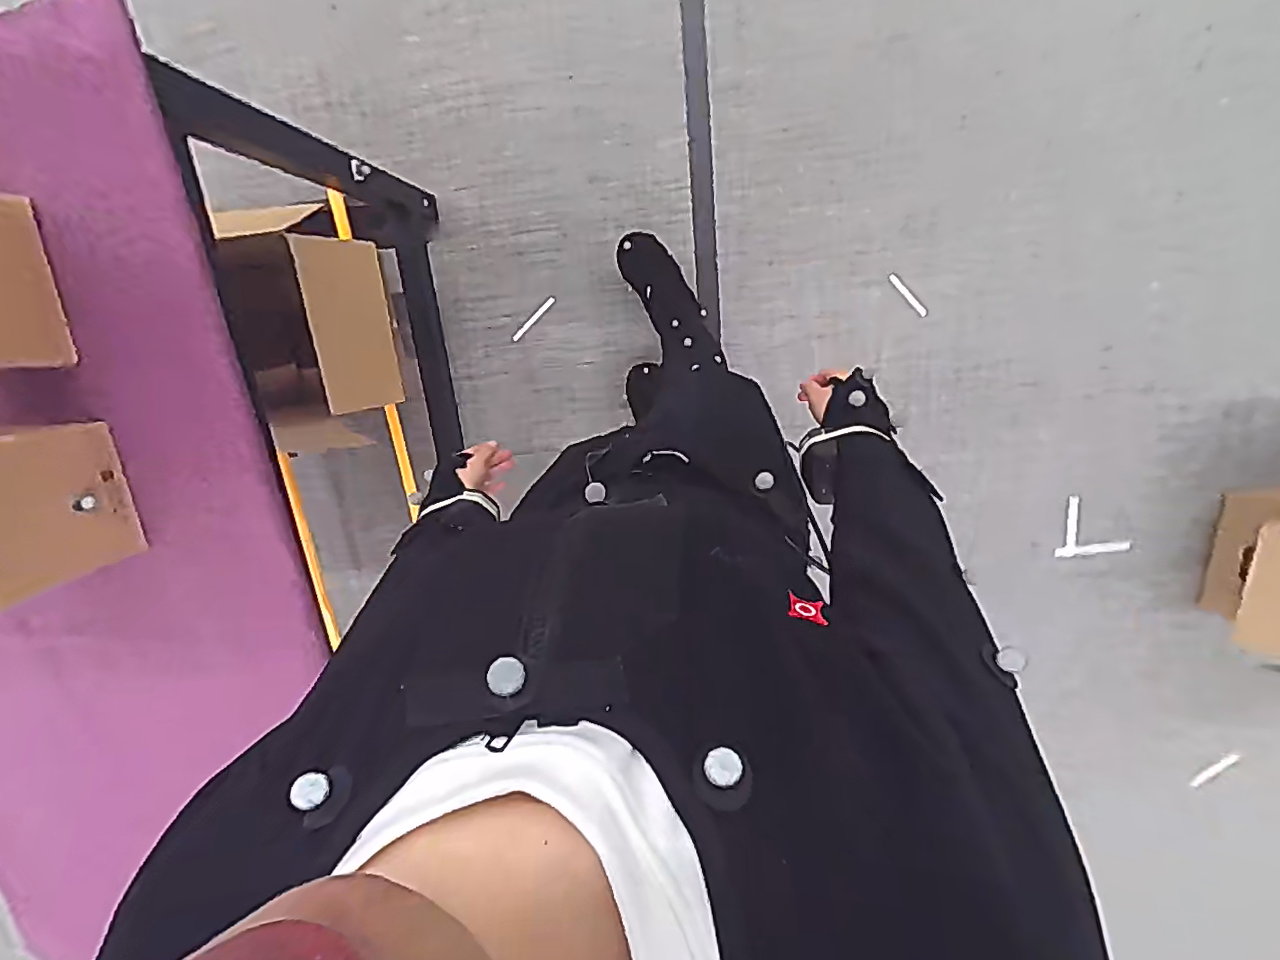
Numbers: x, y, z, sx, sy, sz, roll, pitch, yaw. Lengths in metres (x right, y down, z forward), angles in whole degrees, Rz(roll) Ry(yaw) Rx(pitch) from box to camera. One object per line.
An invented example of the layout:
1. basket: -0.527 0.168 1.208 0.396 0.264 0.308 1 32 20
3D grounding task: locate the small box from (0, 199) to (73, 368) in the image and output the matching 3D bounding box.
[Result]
1. small box: -0.731 -0.197 0.526 0.168 0.176 0.179 0 107 5

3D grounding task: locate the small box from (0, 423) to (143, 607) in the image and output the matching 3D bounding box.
1. small box: -0.716 0.035 0.590 0.179 0.176 0.168 -2 107 5
